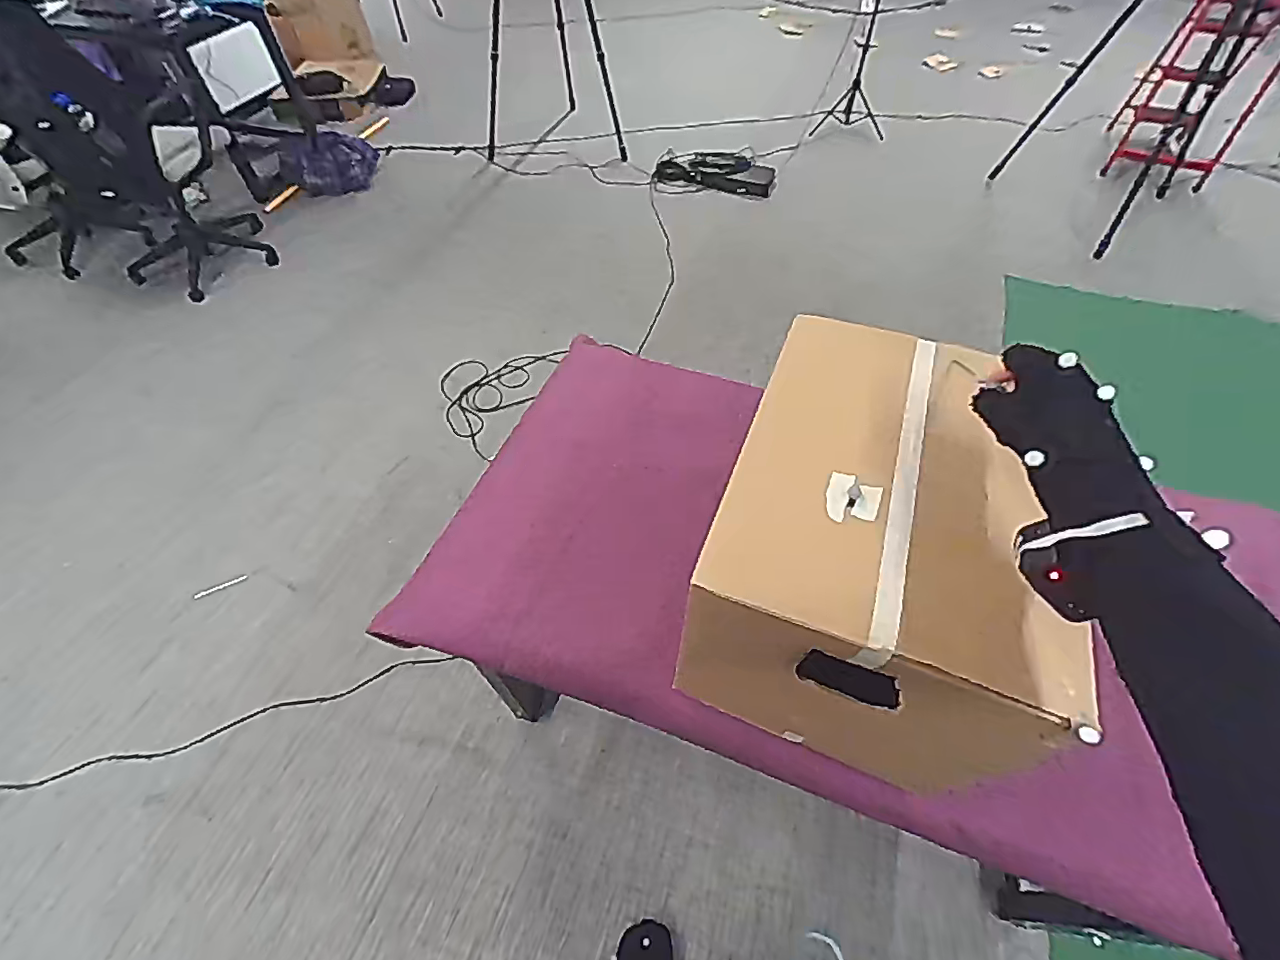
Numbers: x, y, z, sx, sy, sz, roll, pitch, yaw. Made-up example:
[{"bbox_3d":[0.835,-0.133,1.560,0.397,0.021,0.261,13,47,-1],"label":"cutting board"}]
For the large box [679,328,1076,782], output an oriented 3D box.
[{"bbox_3d":[0.263,0.086,0.670,0.320,0.320,0.408,18,56,14],"label":"large box"}]
